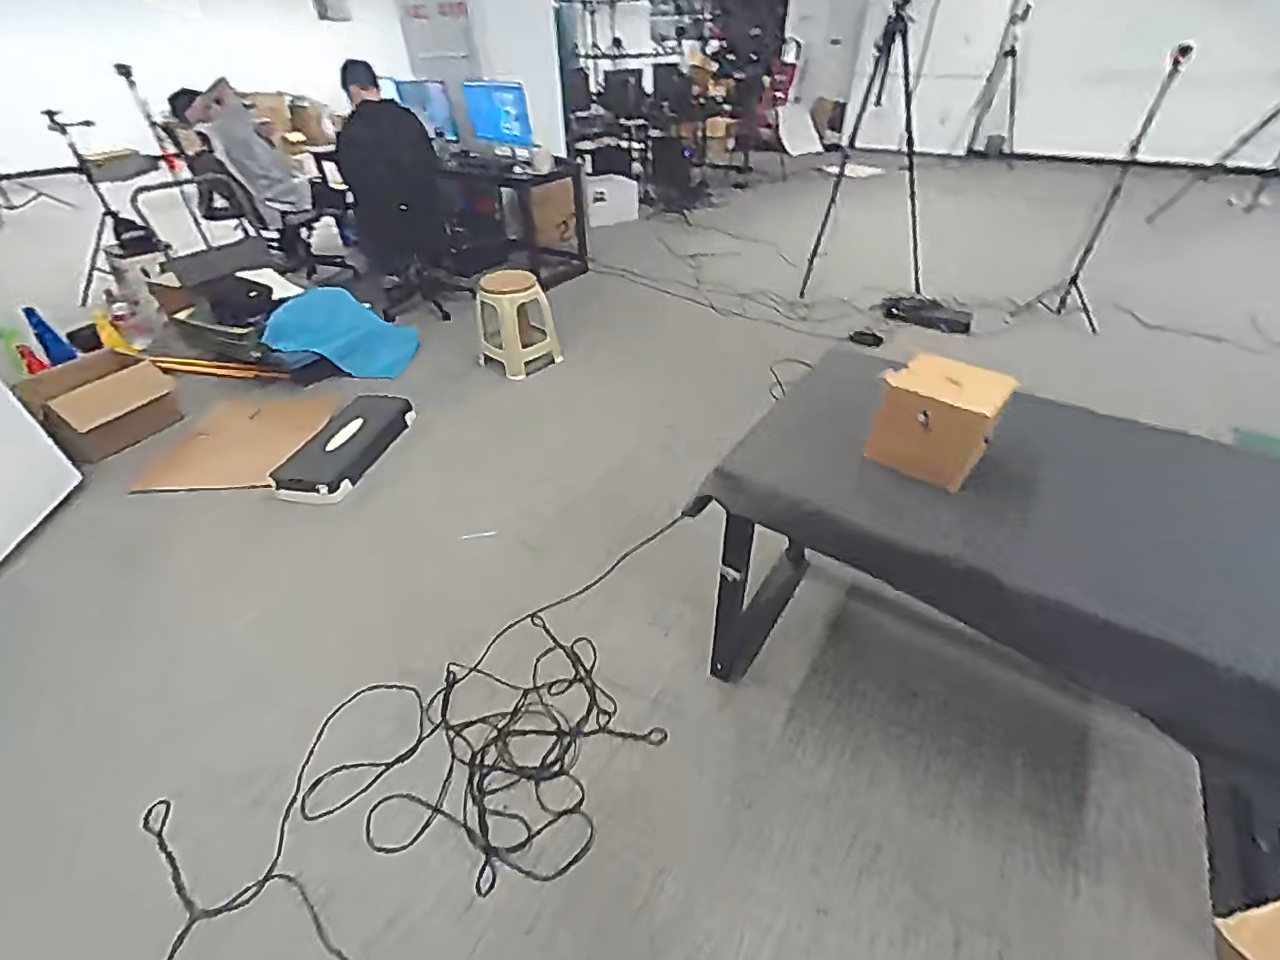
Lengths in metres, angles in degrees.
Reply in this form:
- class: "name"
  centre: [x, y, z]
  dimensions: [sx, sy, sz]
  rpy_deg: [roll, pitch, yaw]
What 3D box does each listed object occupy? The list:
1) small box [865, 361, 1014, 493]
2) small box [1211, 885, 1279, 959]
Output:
- class: "small box"
  centre: [0.557, -0.098, 1.021]
  dimensions: [0.179, 0.176, 0.168]
  rpy_deg: [29, 47, 32]
- class: "small box"
  centre: [0.523, 0.364, 0.315]
  dimensions: [0.179, 0.168, 0.176]
  rpy_deg: [-23, -4, 7]
